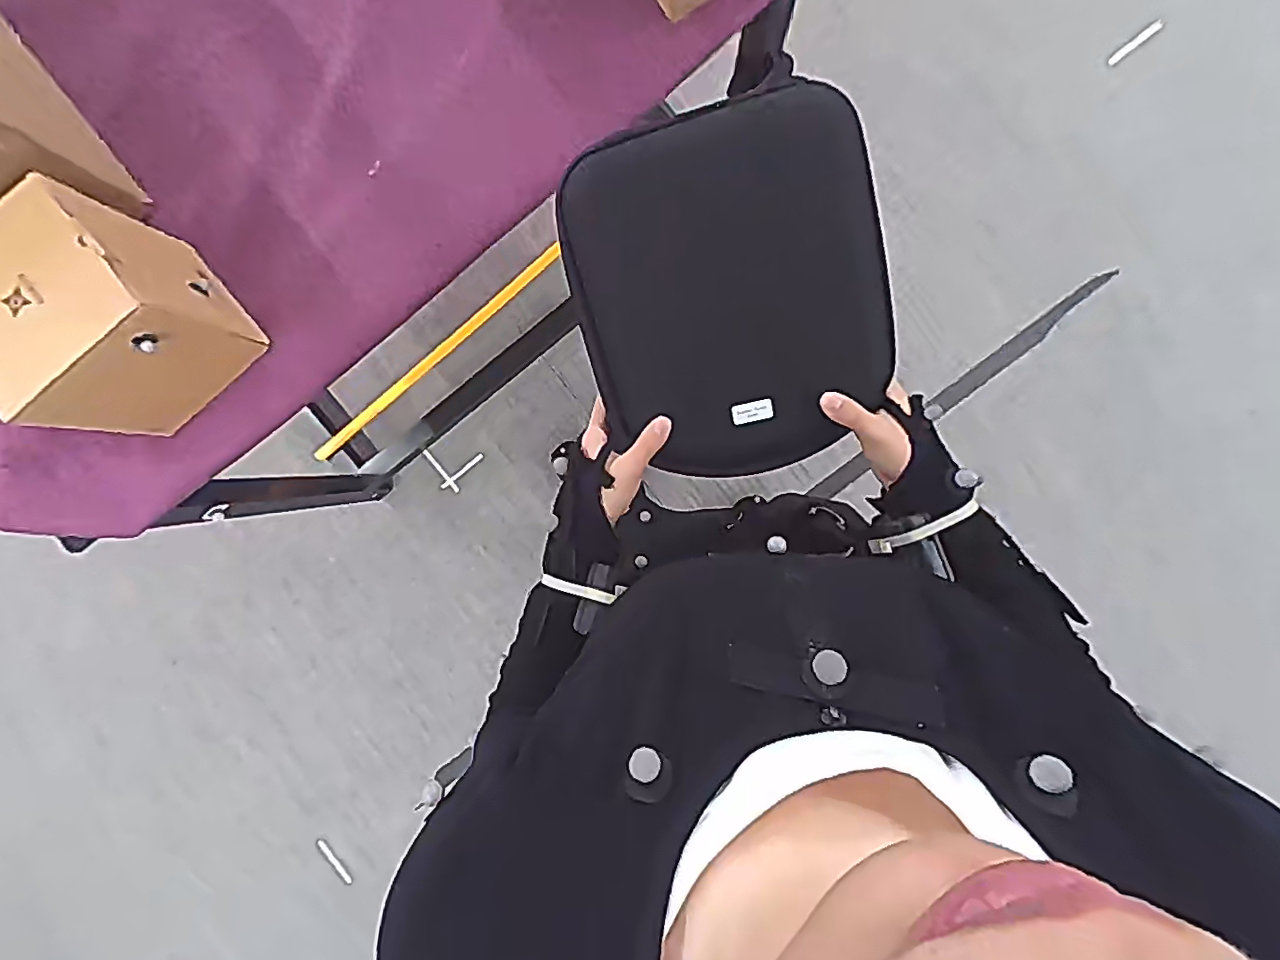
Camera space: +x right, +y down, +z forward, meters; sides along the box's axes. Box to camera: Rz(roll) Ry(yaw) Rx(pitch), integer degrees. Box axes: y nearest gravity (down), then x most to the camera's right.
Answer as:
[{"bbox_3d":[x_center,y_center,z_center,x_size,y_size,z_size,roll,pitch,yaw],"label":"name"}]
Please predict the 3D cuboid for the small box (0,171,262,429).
[{"bbox_3d":[-0.571,-0.172,0.584,0.179,0.176,0.168,-41,88,2],"label":"small box"}]
